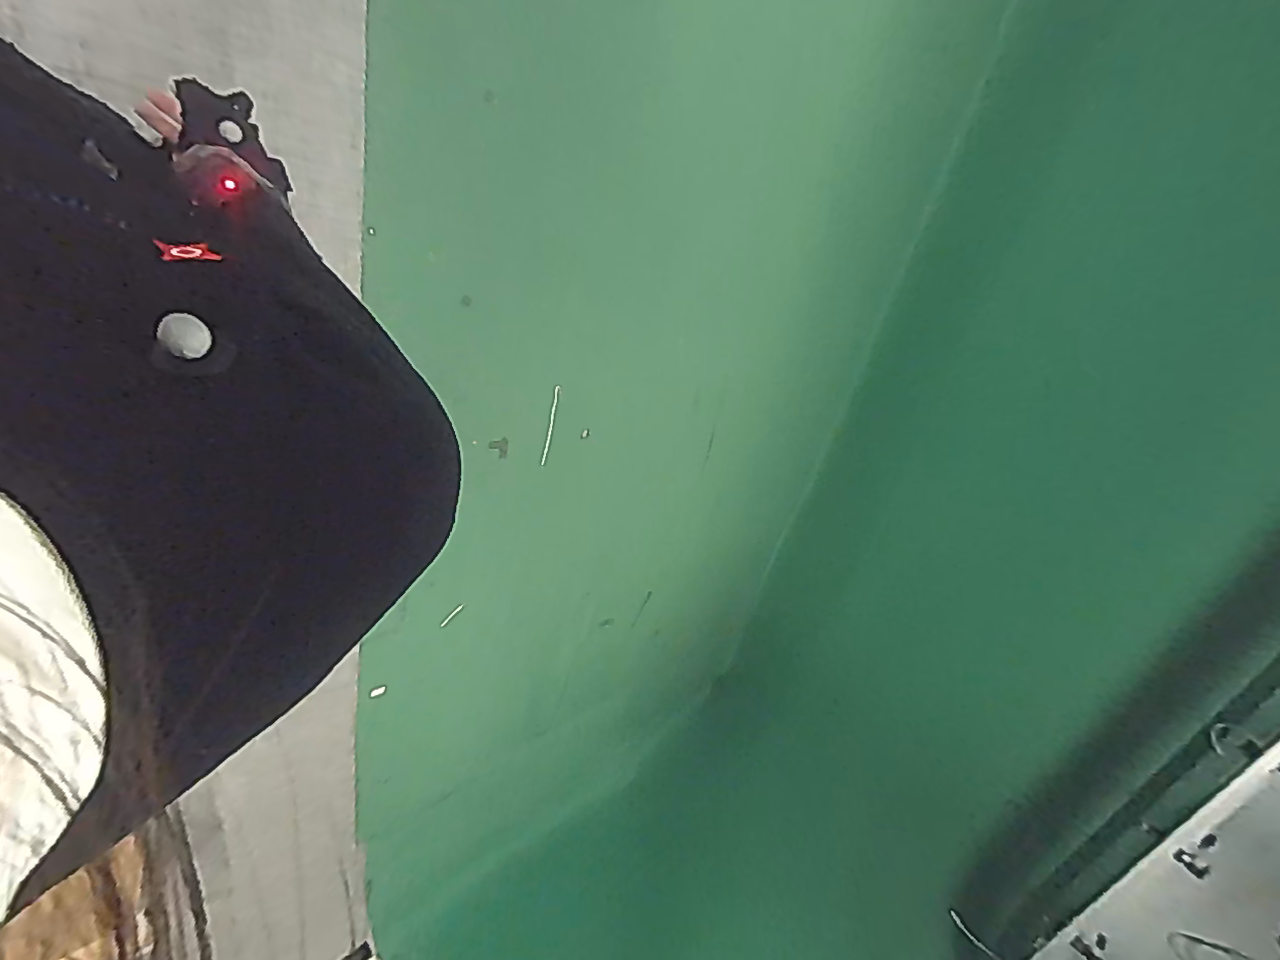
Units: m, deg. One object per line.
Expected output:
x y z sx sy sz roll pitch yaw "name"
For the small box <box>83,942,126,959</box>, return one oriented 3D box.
-1.380 1.314 1.329 0.179 0.176 0.168 -15 123 -42 "small box"
